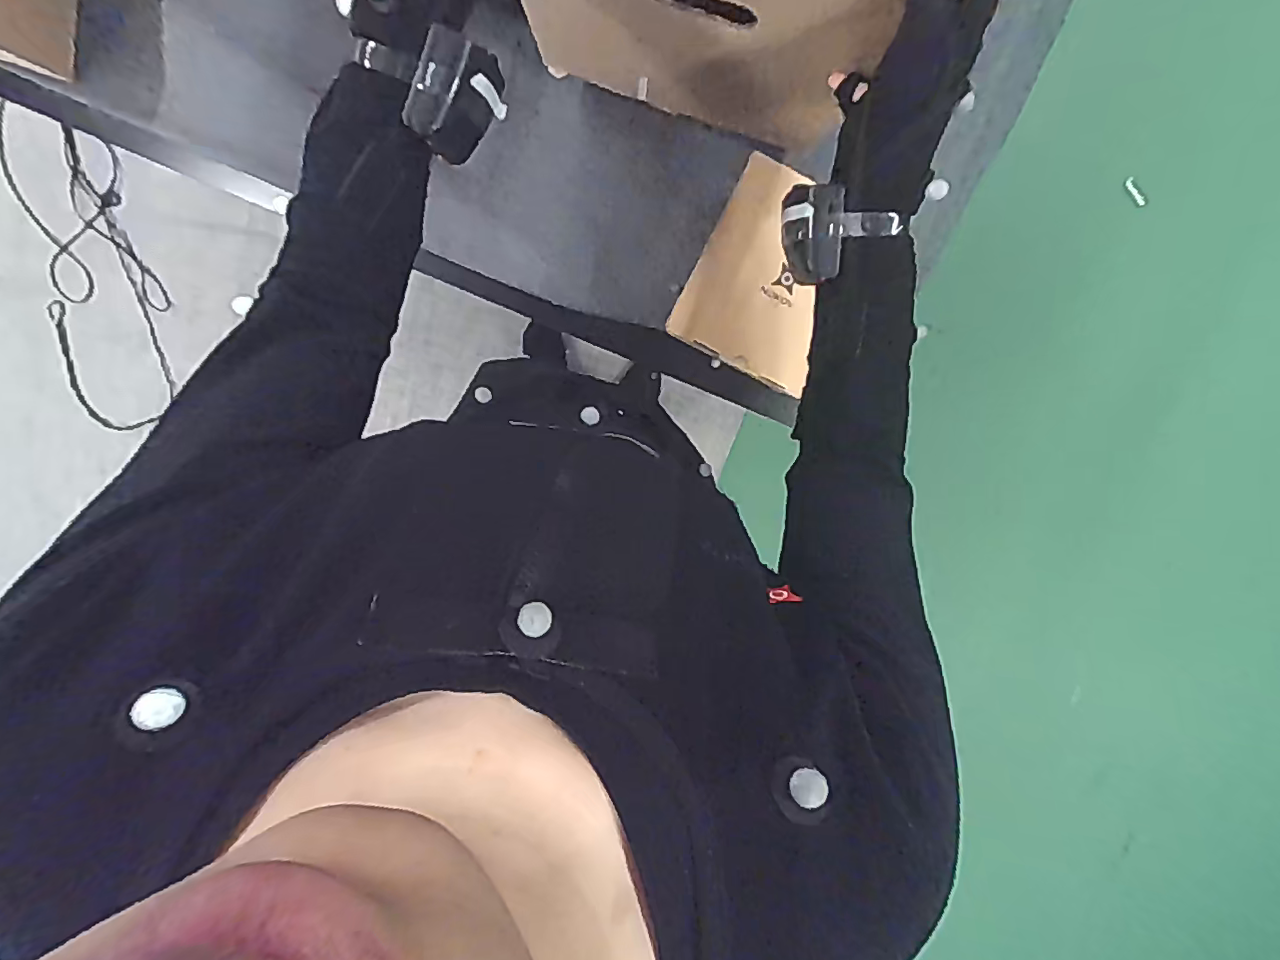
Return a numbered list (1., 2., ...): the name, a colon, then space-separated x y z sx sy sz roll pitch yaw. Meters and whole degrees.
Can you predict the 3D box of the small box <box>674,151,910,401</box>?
1. small box: 0.145 -0.209 0.591 0.168 0.176 0.179 27 106 -4
